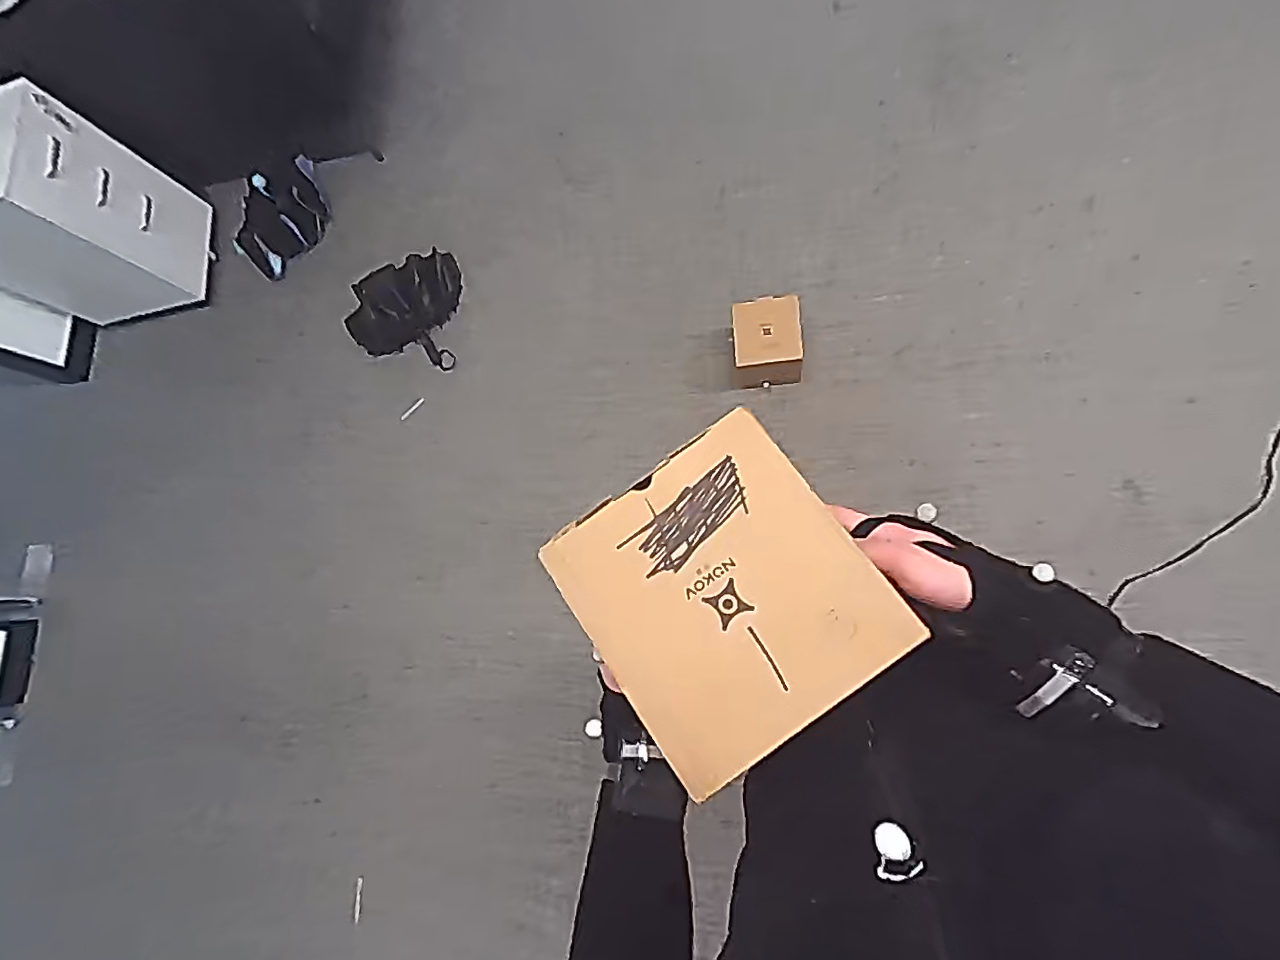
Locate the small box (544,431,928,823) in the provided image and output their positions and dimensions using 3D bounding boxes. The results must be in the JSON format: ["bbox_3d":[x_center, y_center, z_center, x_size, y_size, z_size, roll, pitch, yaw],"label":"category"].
[{"bbox_3d":[0.060,0.099,0.400,0.168,0.176,0.179,-35,74,-1],"label":"small box"}]

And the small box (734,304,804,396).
[{"bbox_3d":[0.340,-0.338,1.434,0.168,0.176,0.179,-4,79,14],"label":"small box"}]
